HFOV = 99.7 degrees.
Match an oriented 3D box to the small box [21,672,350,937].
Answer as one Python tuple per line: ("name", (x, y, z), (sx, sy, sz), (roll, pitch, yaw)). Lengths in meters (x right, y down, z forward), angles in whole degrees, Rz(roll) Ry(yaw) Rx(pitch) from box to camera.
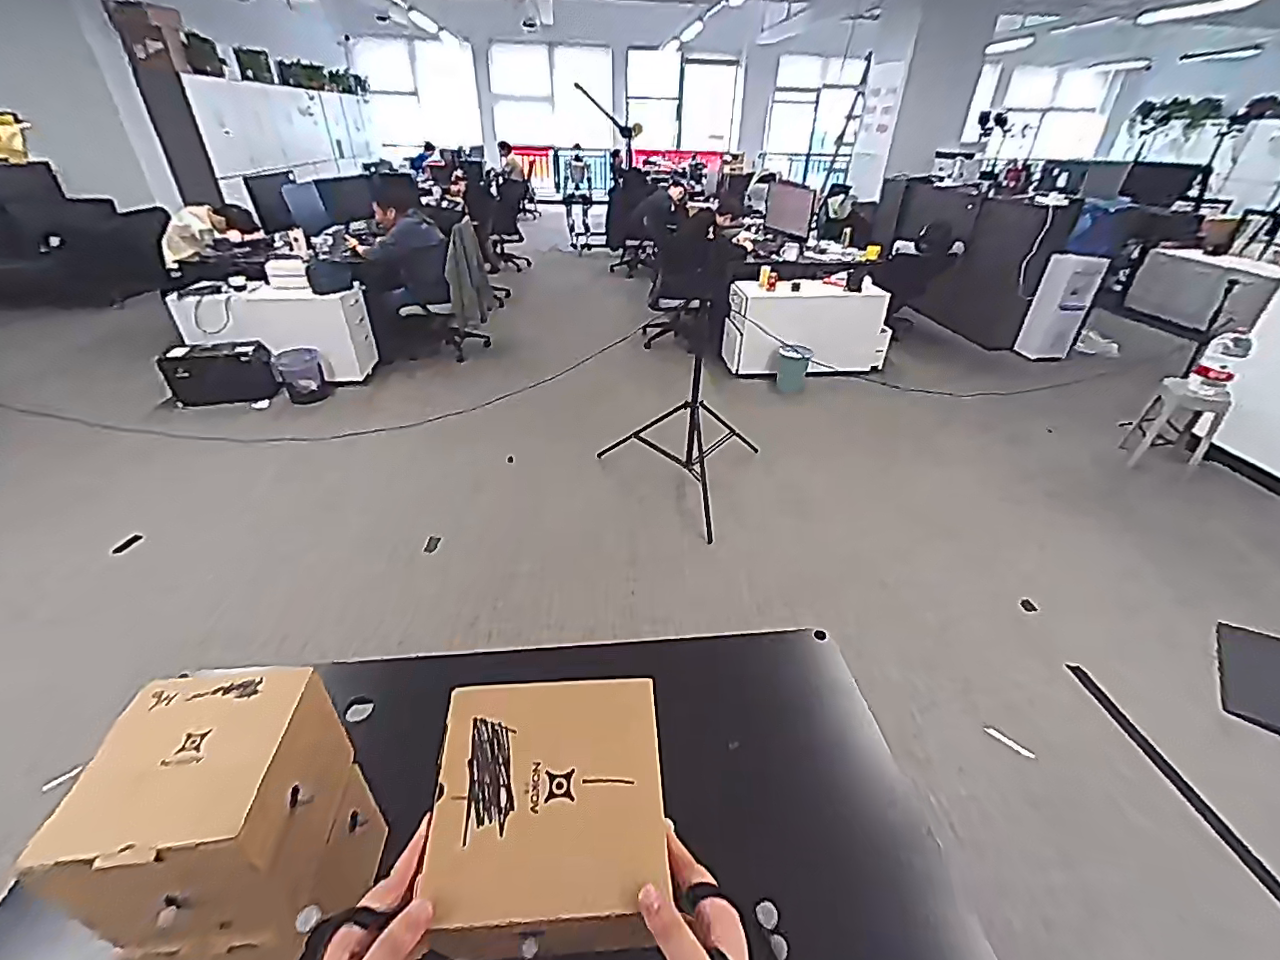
("small box", (-0.420, 0.326, 0.547), (0.168, 0.176, 0.179), (-3, 34, -7))

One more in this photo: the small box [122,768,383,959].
("small box", (-0.419, 0.468, 0.628), (0.168, 0.176, 0.179), (-2, 33, -4))

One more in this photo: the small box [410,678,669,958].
("small box", (-0.072, 0.293, 0.471), (0.179, 0.176, 0.168), (-2, 43, -4))
